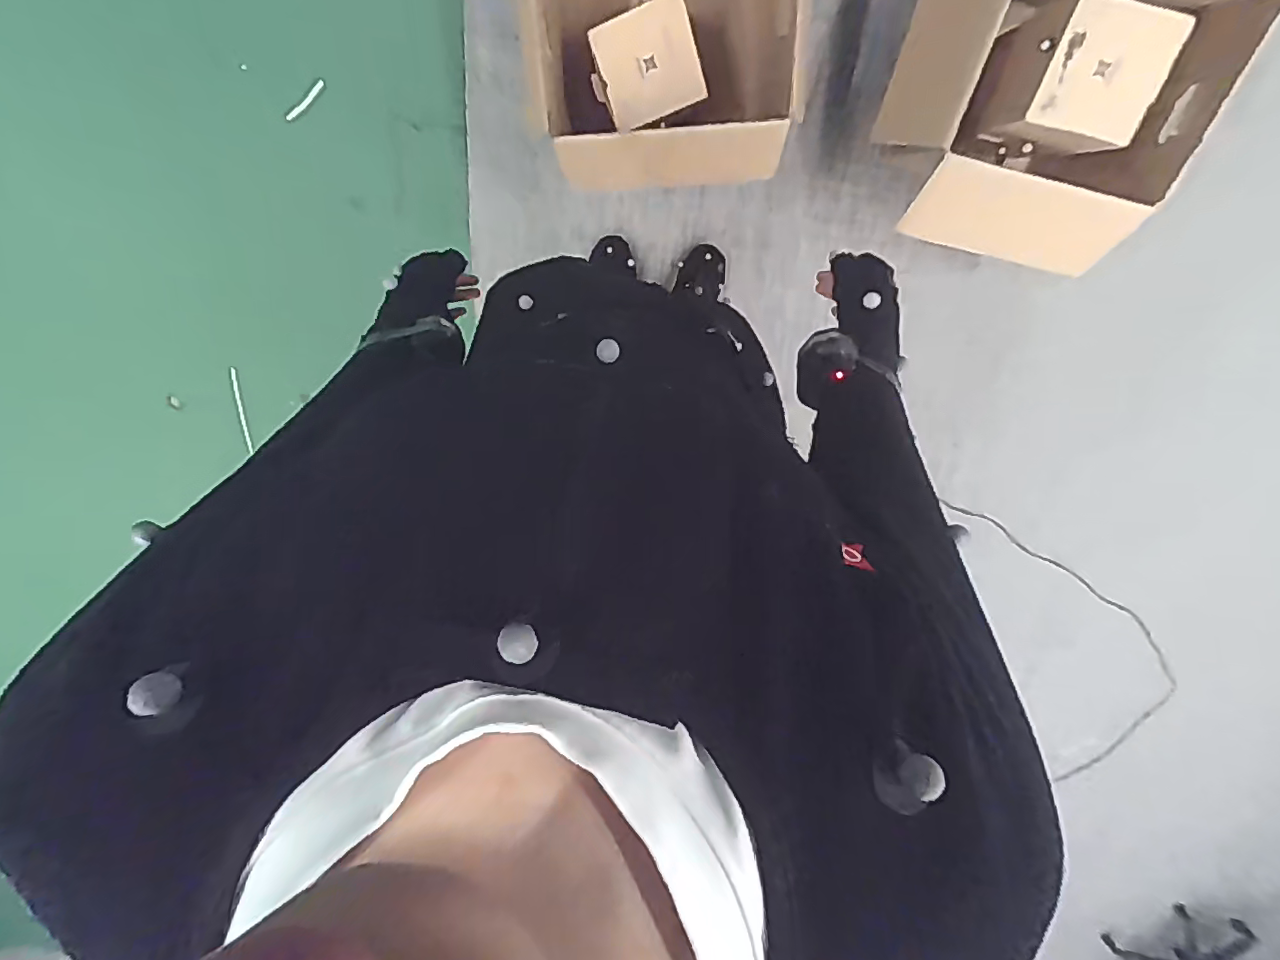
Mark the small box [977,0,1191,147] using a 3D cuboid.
[{"bbox_3d":[0.711,-0.665,0.892,0.179,0.176,0.168,12,116,-3],"label":"small box"}]
